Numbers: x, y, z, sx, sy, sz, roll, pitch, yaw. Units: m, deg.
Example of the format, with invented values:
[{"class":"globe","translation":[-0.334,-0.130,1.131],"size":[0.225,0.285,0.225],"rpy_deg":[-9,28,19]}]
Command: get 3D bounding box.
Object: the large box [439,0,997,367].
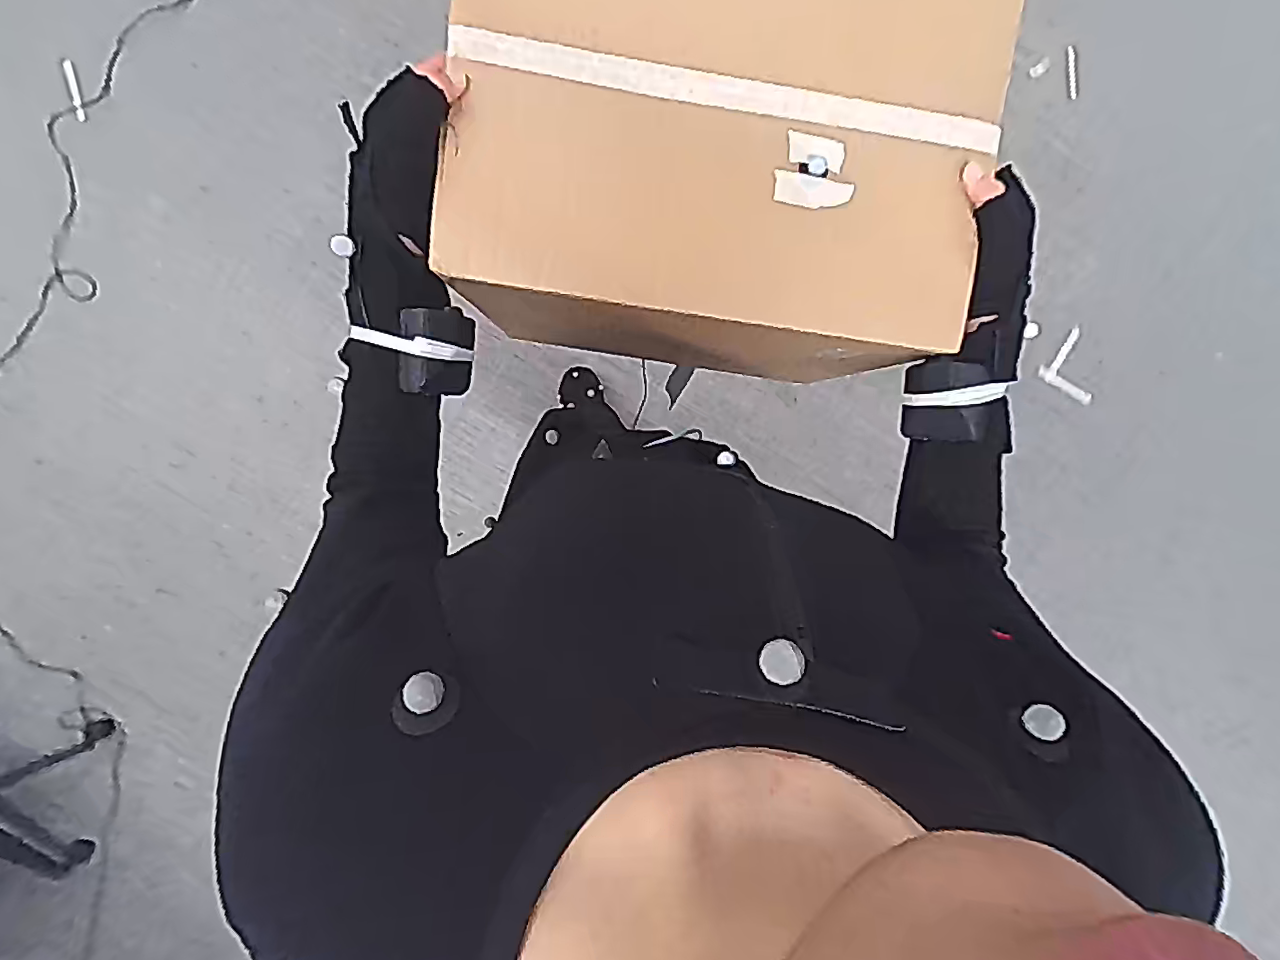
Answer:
[{"class":"large box","translation":[0.049,-0.305,0.549],"size":[0.408,0.320,0.320],"rpy_deg":[7,97,-5]}]
